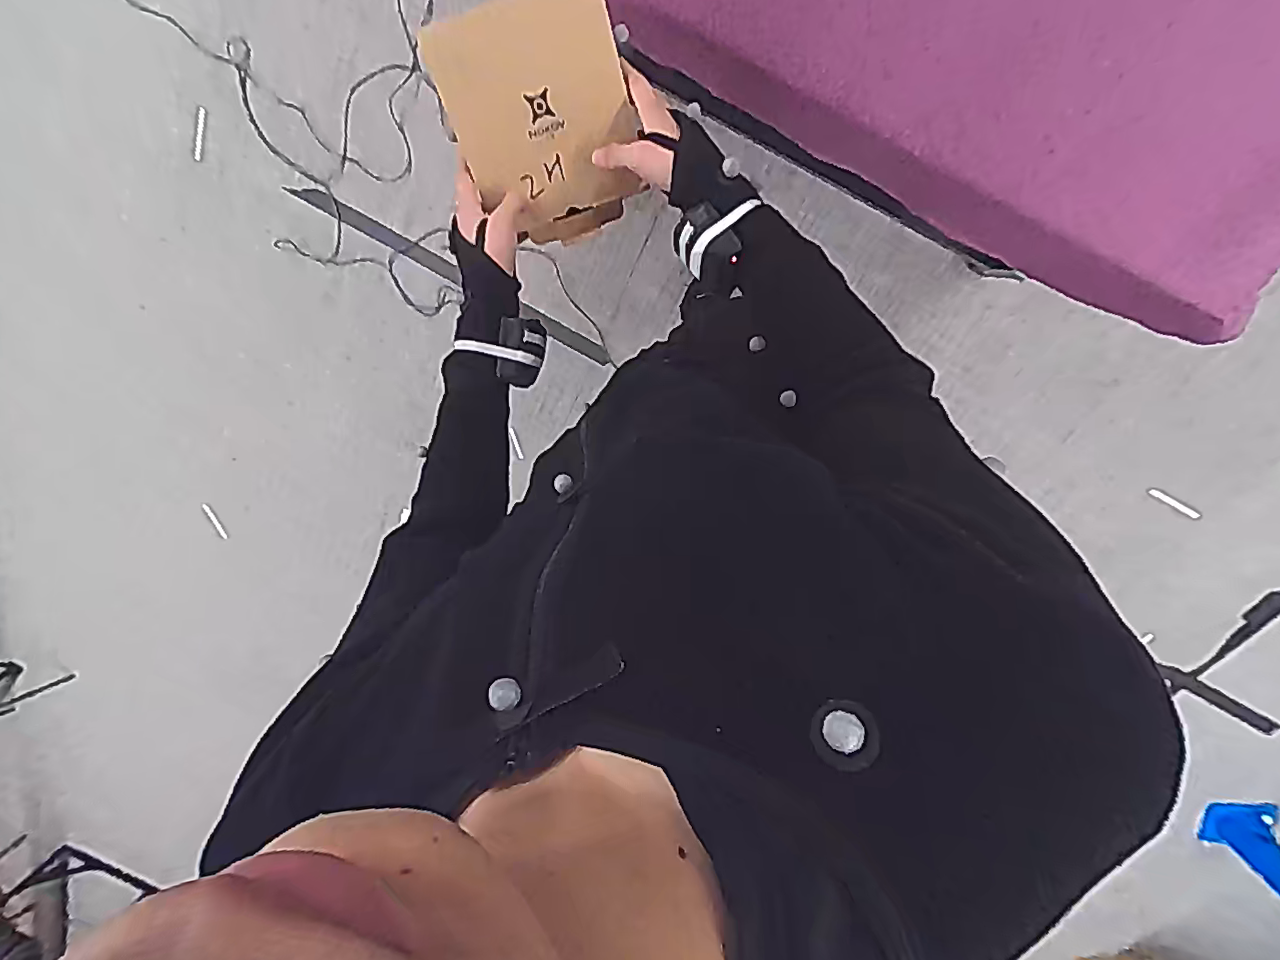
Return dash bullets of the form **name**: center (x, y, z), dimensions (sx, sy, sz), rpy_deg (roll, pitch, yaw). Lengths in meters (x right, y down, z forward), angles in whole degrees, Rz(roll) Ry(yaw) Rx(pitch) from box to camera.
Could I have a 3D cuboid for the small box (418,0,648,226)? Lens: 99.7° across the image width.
- **small box**: center (-0.100, -0.389, 0.561), dimensions (0.168, 0.176, 0.179), rpy_deg (-16, 126, 3)
